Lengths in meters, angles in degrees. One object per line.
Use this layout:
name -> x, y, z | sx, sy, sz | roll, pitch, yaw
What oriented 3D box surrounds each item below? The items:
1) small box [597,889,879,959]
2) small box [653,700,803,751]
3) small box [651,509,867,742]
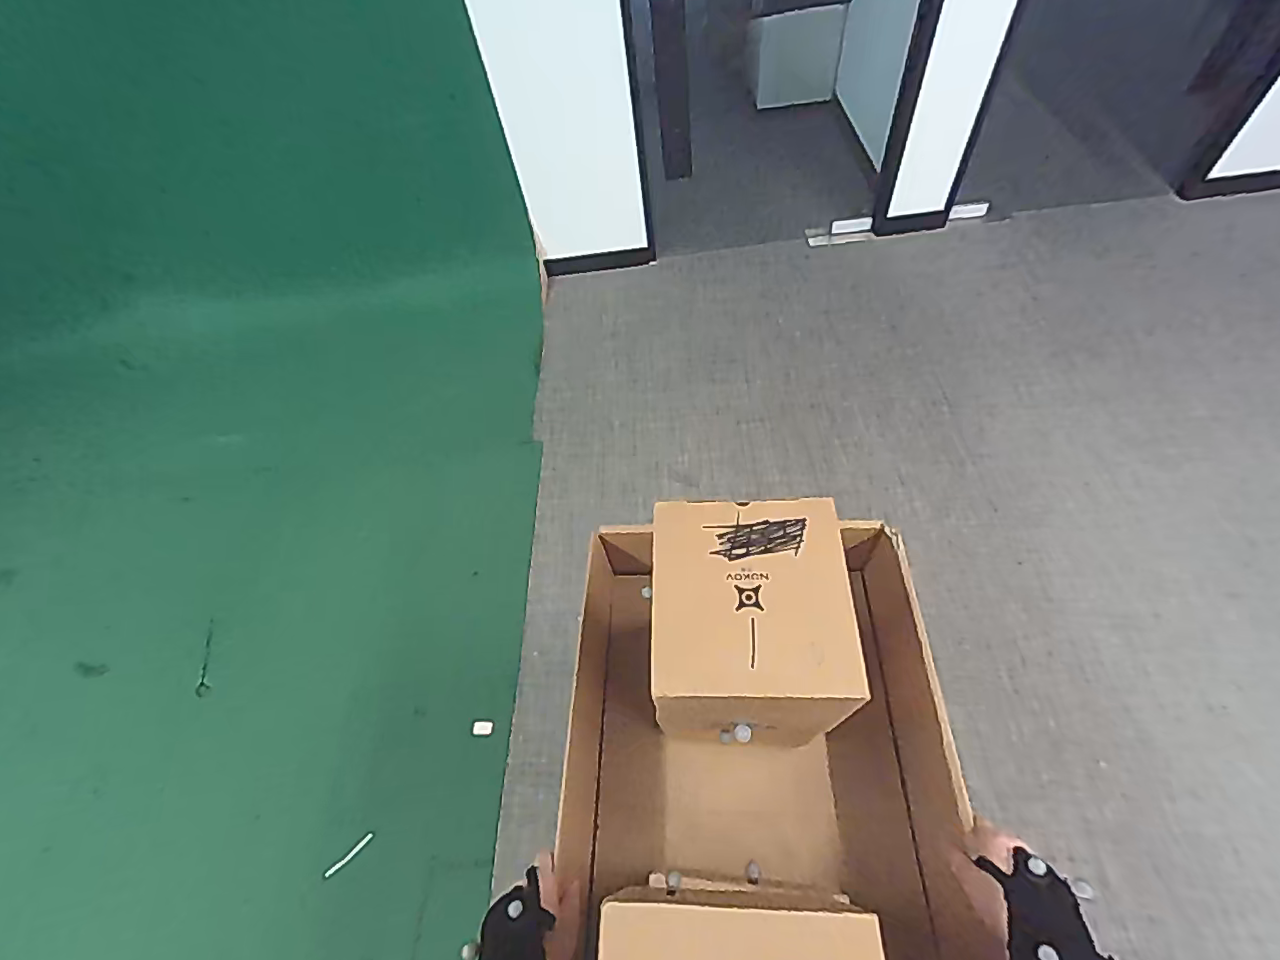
small box -> 0.064, 0.390, 0.368 | 0.179, 0.176, 0.168 | -1, 57, 5
small box -> 0.114, 0.230, 0.662 | 0.179, 0.176, 0.168 | -1, 58, 7
small box -> 0.100, 0.144, 0.522 | 0.168, 0.176, 0.179 | -1, 58, 6
